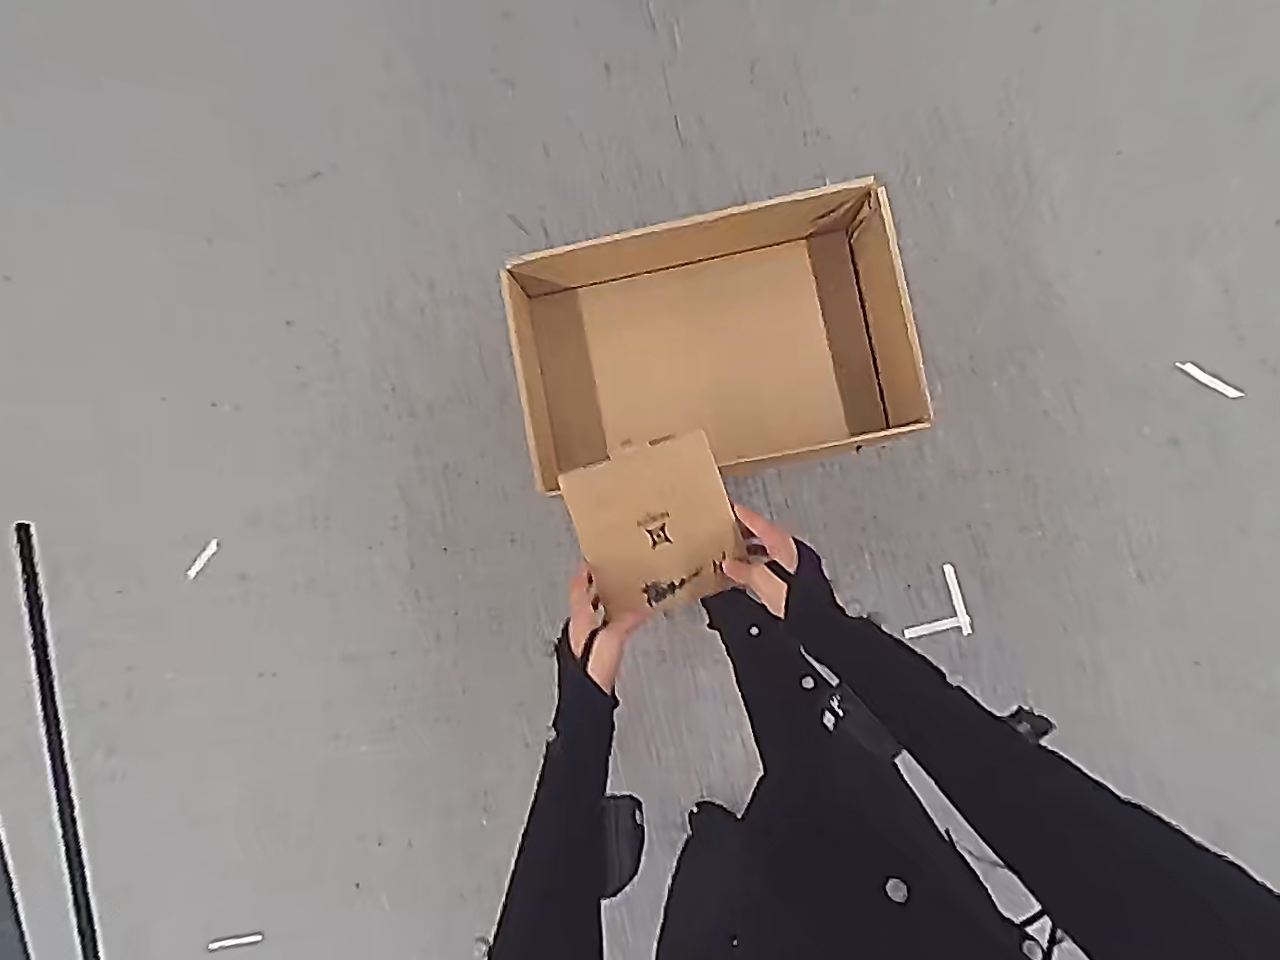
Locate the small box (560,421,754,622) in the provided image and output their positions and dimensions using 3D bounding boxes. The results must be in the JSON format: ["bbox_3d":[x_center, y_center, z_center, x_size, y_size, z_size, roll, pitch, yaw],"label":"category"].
[{"bbox_3d":[0.016,0.044,0.647,0.168,0.176,0.179,-19,91,-1],"label":"small box"}]
